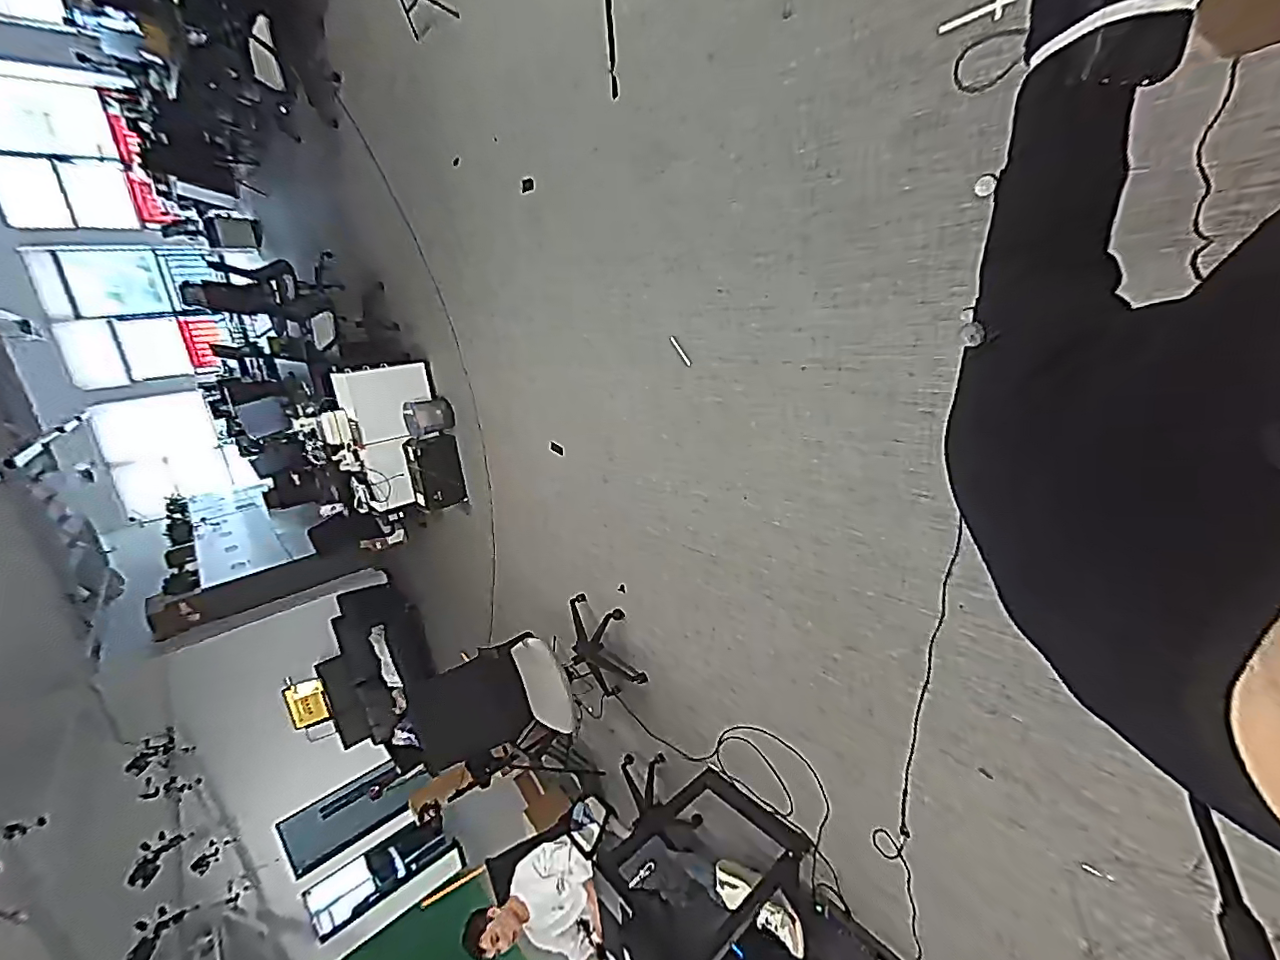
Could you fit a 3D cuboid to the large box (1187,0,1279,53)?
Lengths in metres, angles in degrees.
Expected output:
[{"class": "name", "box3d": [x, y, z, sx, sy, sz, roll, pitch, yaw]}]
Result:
[{"class": "large box", "box3d": [0.552, -0.491, 0.248, 0.408, 0.320, 0.320, 10, 116, 50]}]
